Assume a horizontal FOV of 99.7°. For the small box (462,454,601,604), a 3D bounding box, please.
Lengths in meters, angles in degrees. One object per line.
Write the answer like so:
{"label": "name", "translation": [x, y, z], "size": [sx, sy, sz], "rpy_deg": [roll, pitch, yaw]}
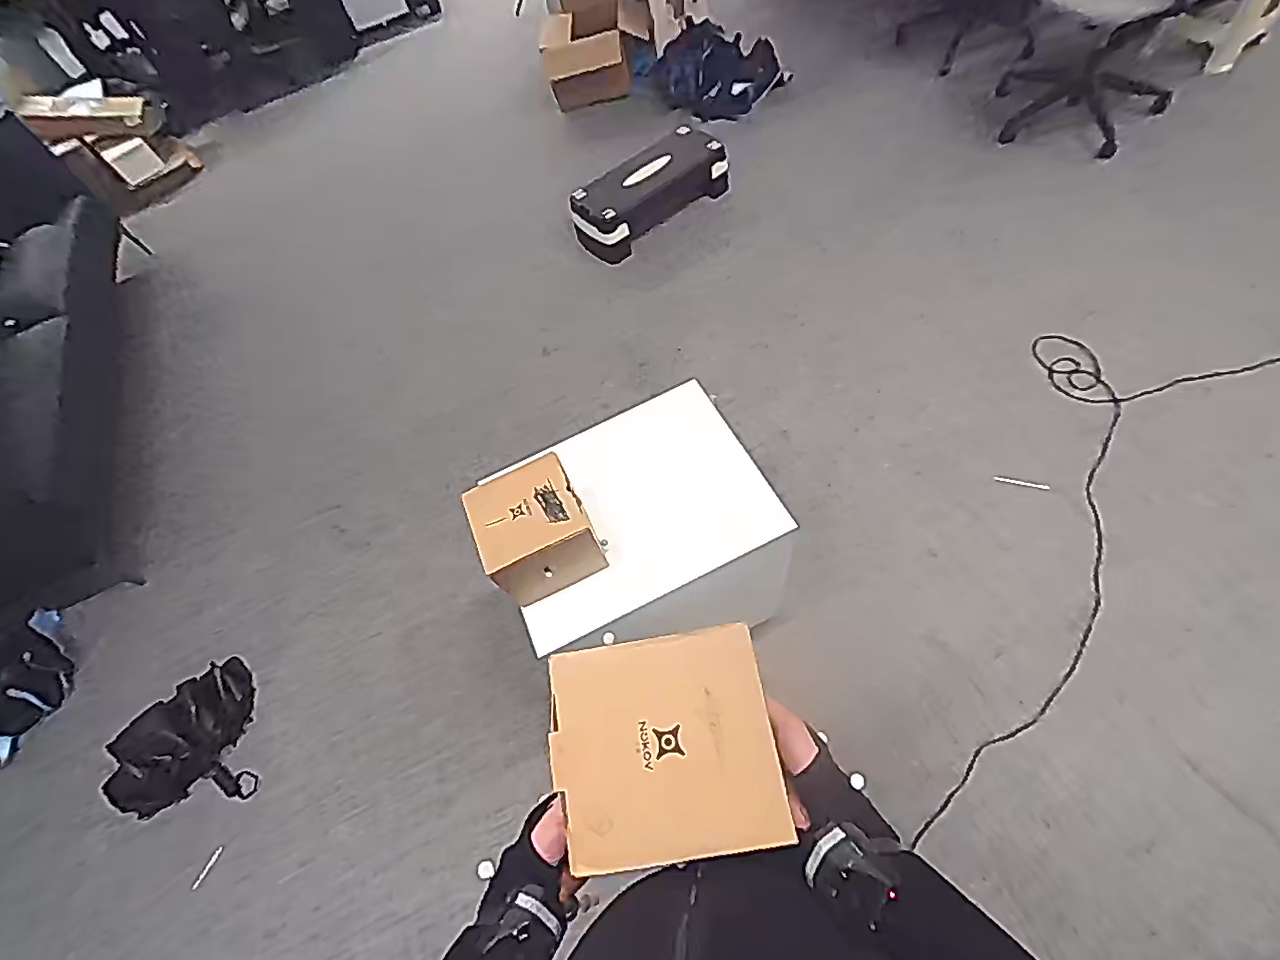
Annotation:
{"label": "small box", "translation": [-0.179, 0.090, 0.943], "size": [0.179, 0.176, 0.168], "rpy_deg": [-25, 59, -4]}
